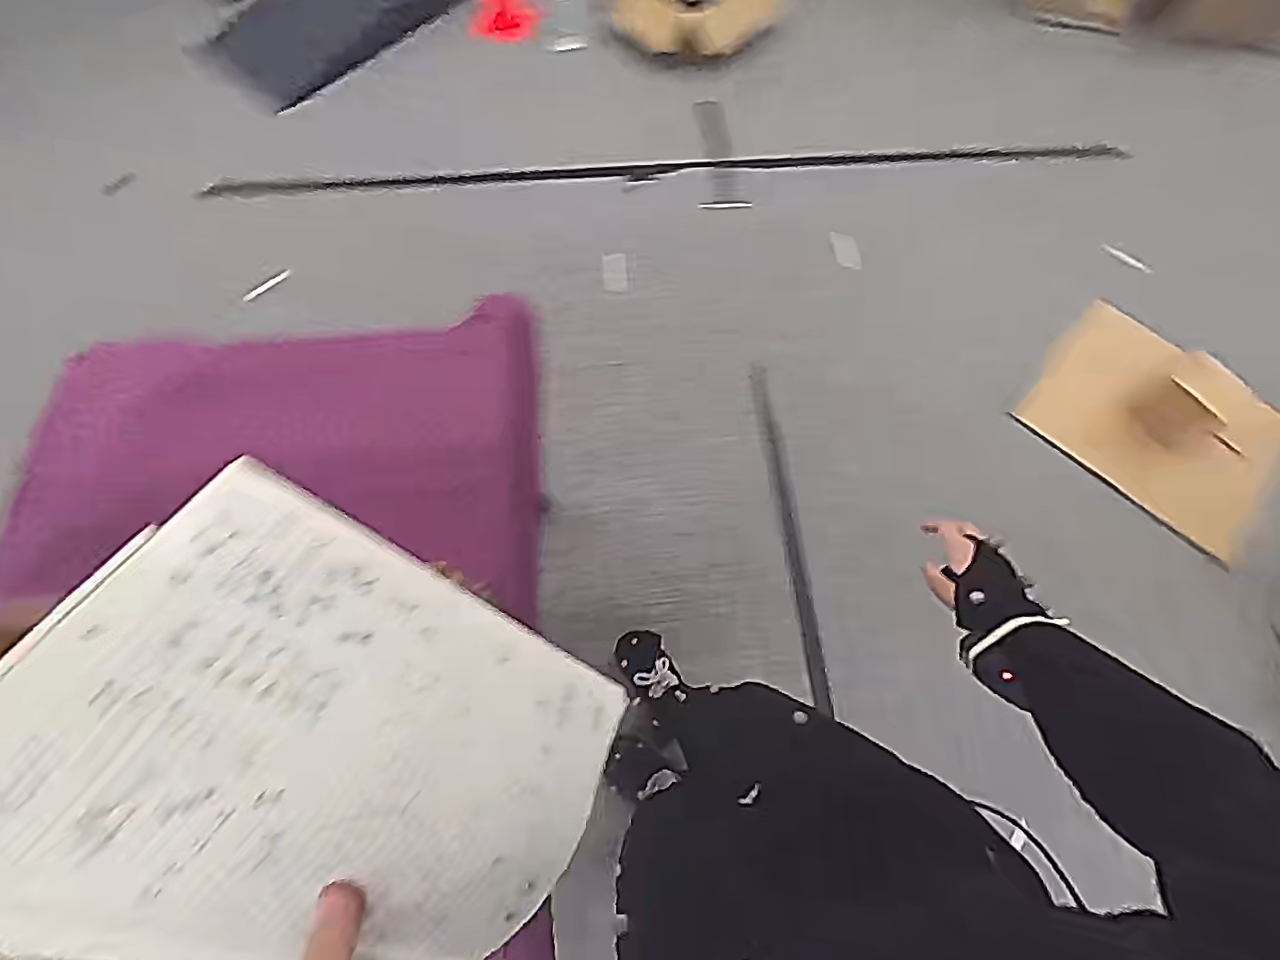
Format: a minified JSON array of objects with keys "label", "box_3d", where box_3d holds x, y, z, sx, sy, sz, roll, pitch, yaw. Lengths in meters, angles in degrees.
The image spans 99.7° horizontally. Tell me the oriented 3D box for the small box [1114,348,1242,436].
[{"label":"small box","box_3d":[1.585,-0.250,1.602,0.168,0.176,0.179,-35,78,-15]}]
